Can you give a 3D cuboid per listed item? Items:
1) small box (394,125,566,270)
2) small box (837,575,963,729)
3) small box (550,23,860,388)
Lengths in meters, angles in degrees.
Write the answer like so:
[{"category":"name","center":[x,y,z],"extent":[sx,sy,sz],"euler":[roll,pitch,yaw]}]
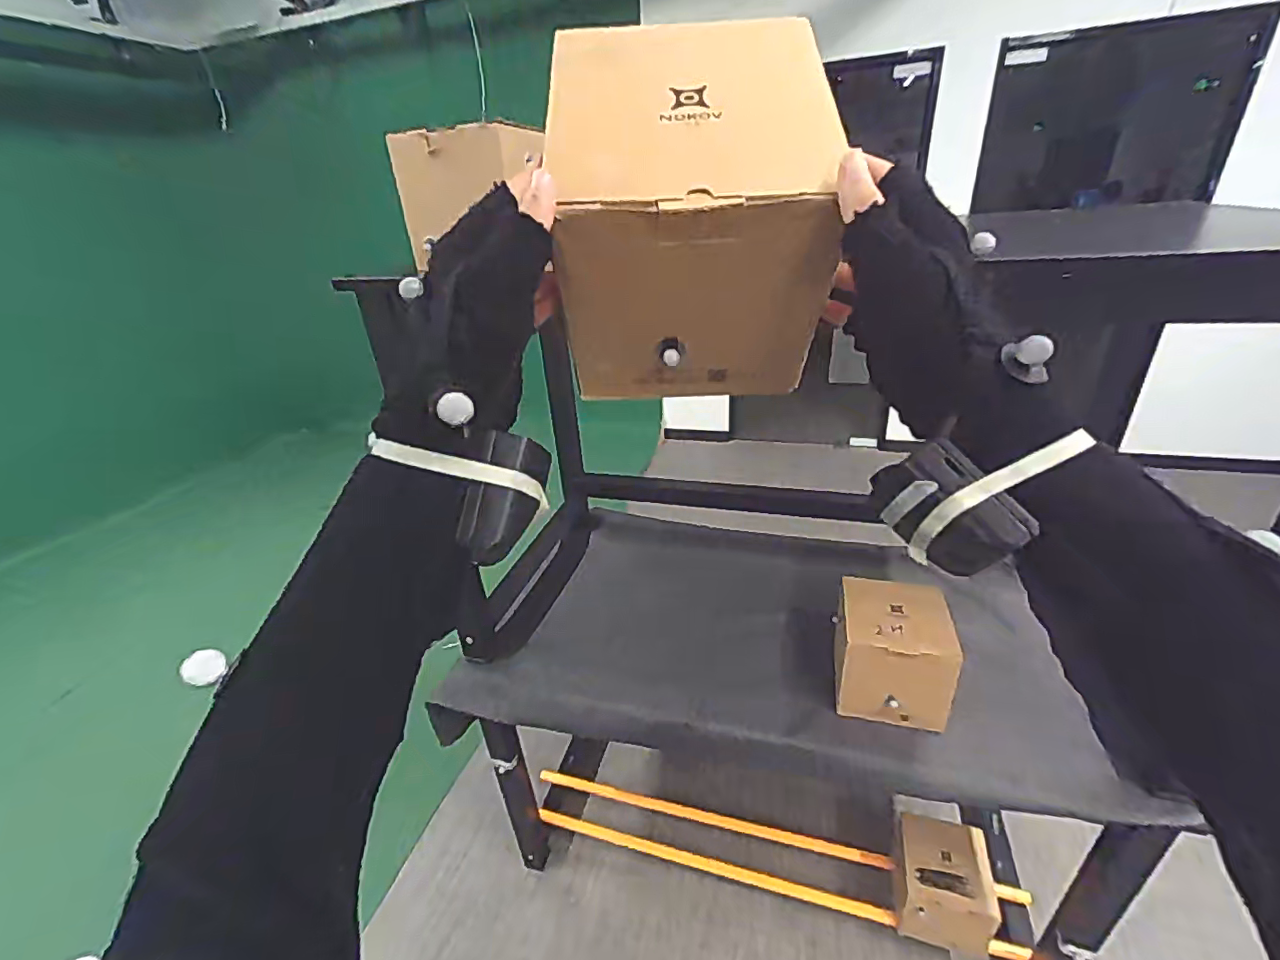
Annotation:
[{"category":"small box","center":[-0.218,-0.404,0.794],"extent":[0.168,0.176,0.179],"euler":[4,27,15]},{"category":"small box","center":[0.437,0.292,0.939],"extent":[0.168,0.176,0.179],"euler":[3,27,17]},{"category":"small box","center":[0.035,-0.187,0.392],"extent":[0.168,0.176,0.179],"euler":[-3,62,1]}]
